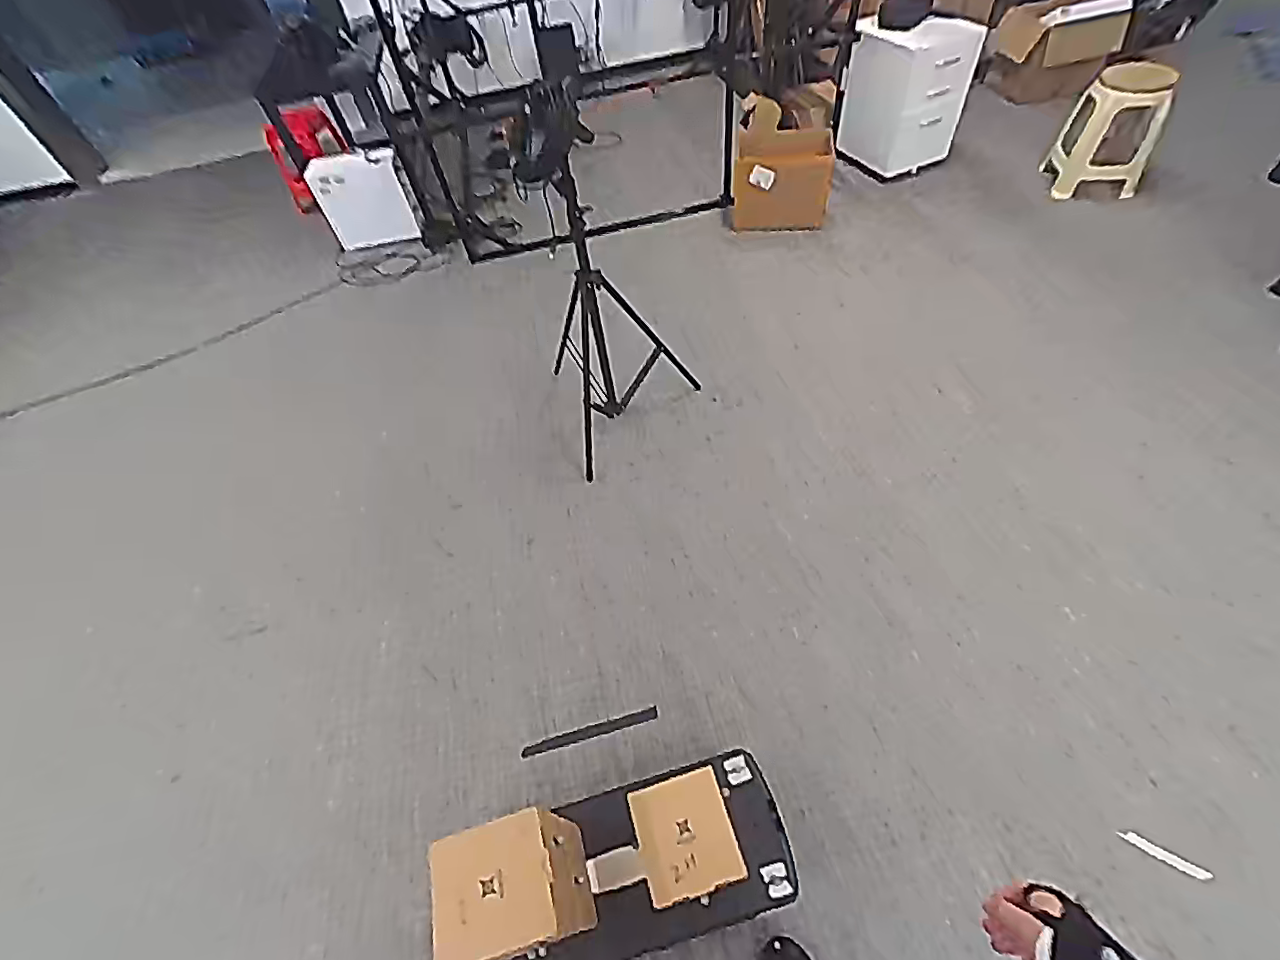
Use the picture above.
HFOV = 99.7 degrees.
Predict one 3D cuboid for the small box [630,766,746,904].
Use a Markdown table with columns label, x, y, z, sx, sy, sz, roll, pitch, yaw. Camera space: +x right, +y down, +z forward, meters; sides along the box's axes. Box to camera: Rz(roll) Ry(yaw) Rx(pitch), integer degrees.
| label | x | y | z | sx | sy | sz | roll | pitch | yaw |
| --- | --- | --- | --- | --- | --- | --- | --- | --- | --- |
| small box | 0.088 | 0.668 | 1.014 | 0.168 | 0.176 | 0.179 | -17 | 52 | -3 |

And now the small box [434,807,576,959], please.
| label | x | y | z | sx | sy | sz | roll | pitch | yaw |
| --- | --- | --- | --- | --- | --- | --- | --- | --- | --- |
| small box | -0.207 | 0.649 | 0.862 | 0.179 | 0.176 | 0.168 | -18 | 51 | -6 |

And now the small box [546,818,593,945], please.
| label | x | y | z | sx | sy | sz | roll | pitch | yaw |
| --- | --- | --- | --- | --- | --- | --- | --- | --- | --- |
| small box | -0.190 | 0.749 | 0.991 | 0.179 | 0.176 | 0.168 | -17 | 52 | -5 |
